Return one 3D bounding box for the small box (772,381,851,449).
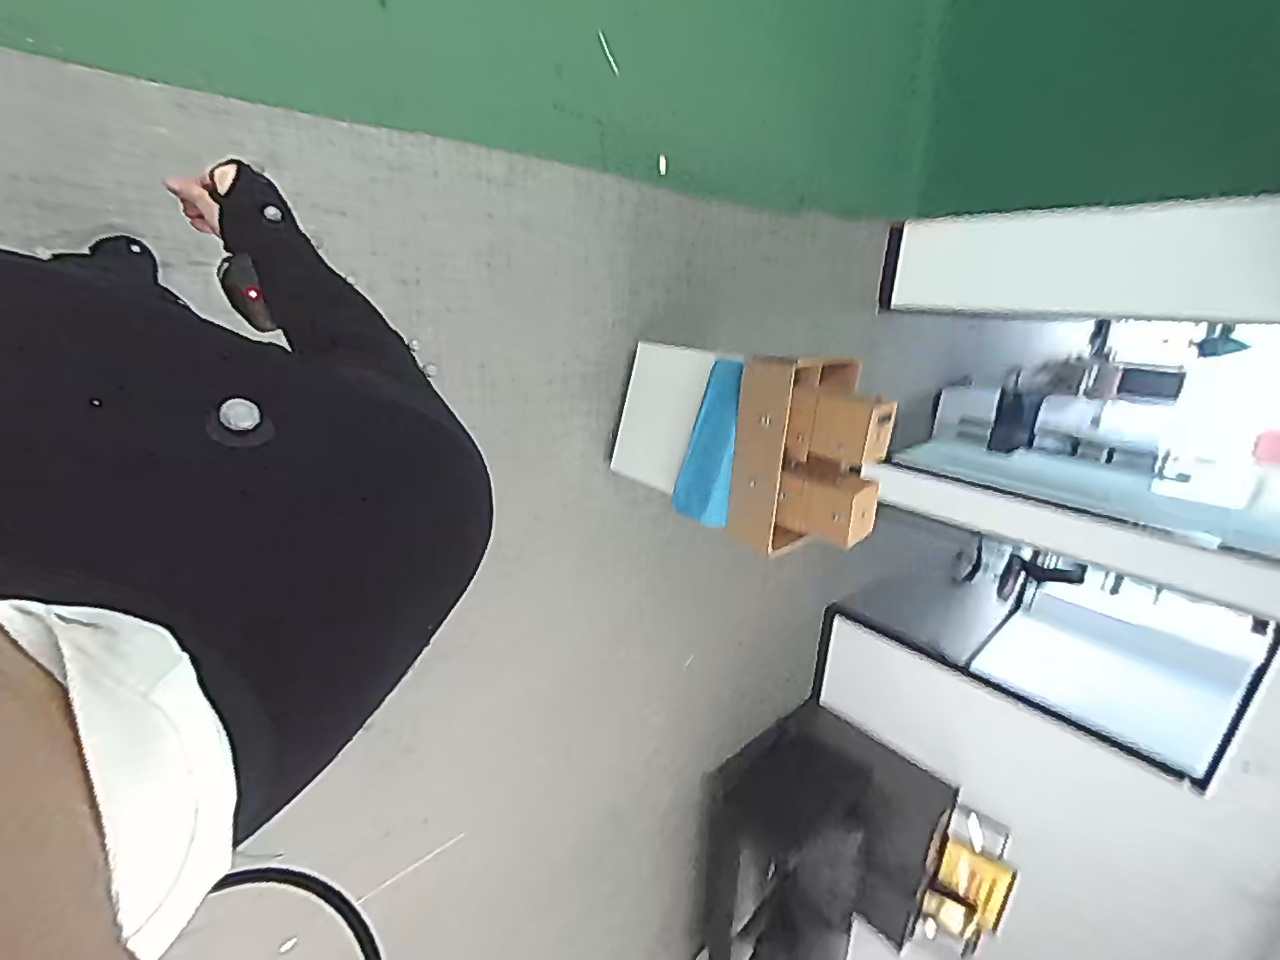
[{"bbox_3d":[0.536,-0.212,1.705,0.168,0.176,0.179,-15,118,-40],"label":"small box"}]

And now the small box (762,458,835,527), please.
[{"bbox_3d":[0.520,0.033,1.784,0.168,0.176,0.179,-18,117,-39],"label":"small box"}]

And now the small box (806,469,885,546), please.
[{"bbox_3d":[0.630,0.075,1.671,0.168,0.176,0.179,-19,118,-38],"label":"small box"}]
